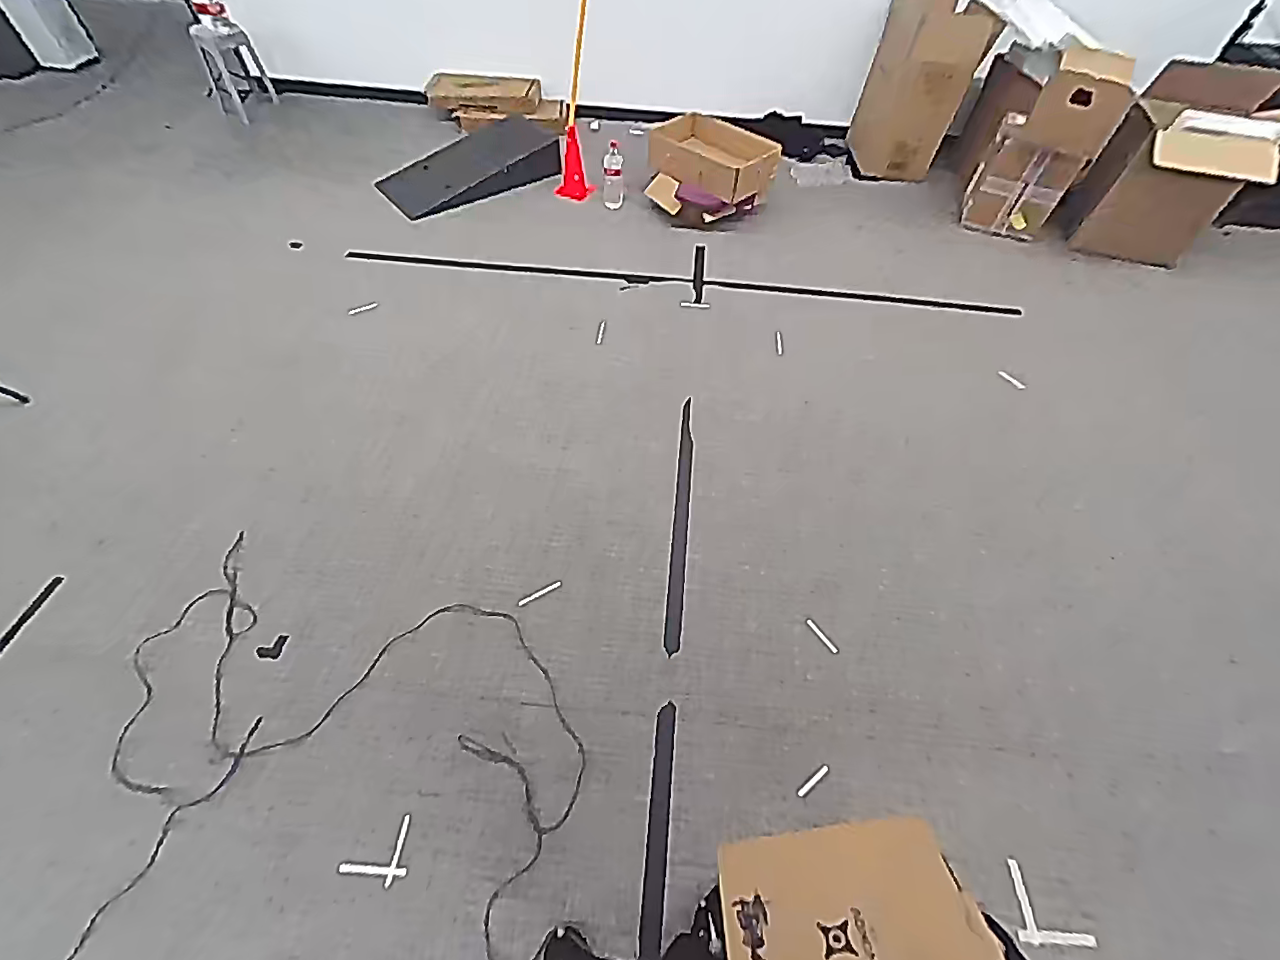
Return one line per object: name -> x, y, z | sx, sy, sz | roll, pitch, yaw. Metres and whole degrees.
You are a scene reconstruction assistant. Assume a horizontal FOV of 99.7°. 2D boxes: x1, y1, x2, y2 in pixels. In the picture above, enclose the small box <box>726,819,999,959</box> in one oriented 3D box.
small box -> 0.172, 0.402, 0.409 | 0.179, 0.176, 0.168 | -12, 16, 6
